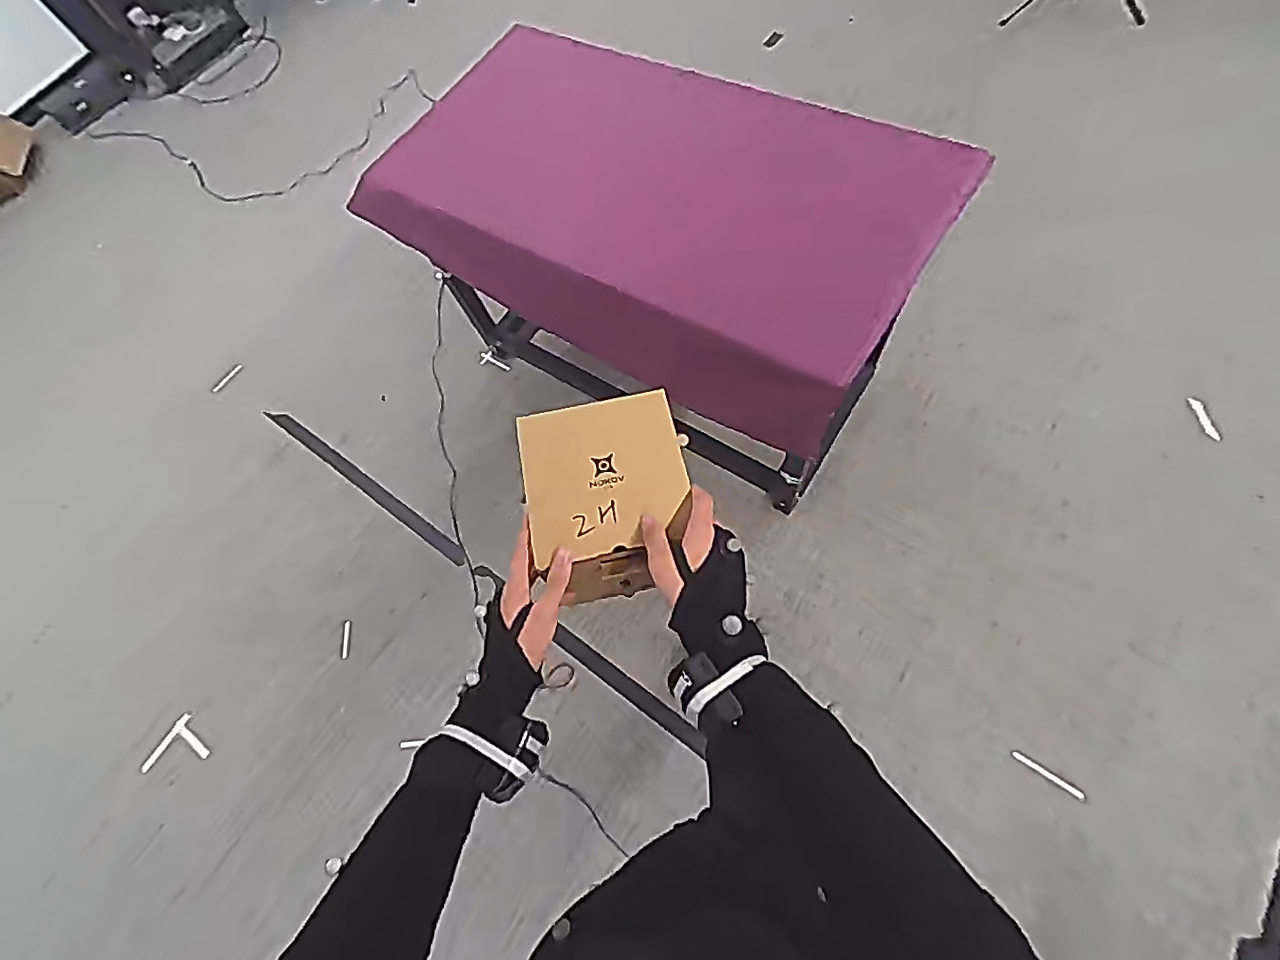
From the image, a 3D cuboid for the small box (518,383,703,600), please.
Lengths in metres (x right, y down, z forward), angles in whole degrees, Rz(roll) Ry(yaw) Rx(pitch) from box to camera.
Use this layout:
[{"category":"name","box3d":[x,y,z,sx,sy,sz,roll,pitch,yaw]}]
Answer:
[{"category":"small box","box3d":[-0.033,0.020,0.618,0.168,0.176,0.179,-12,65,-2]}]
